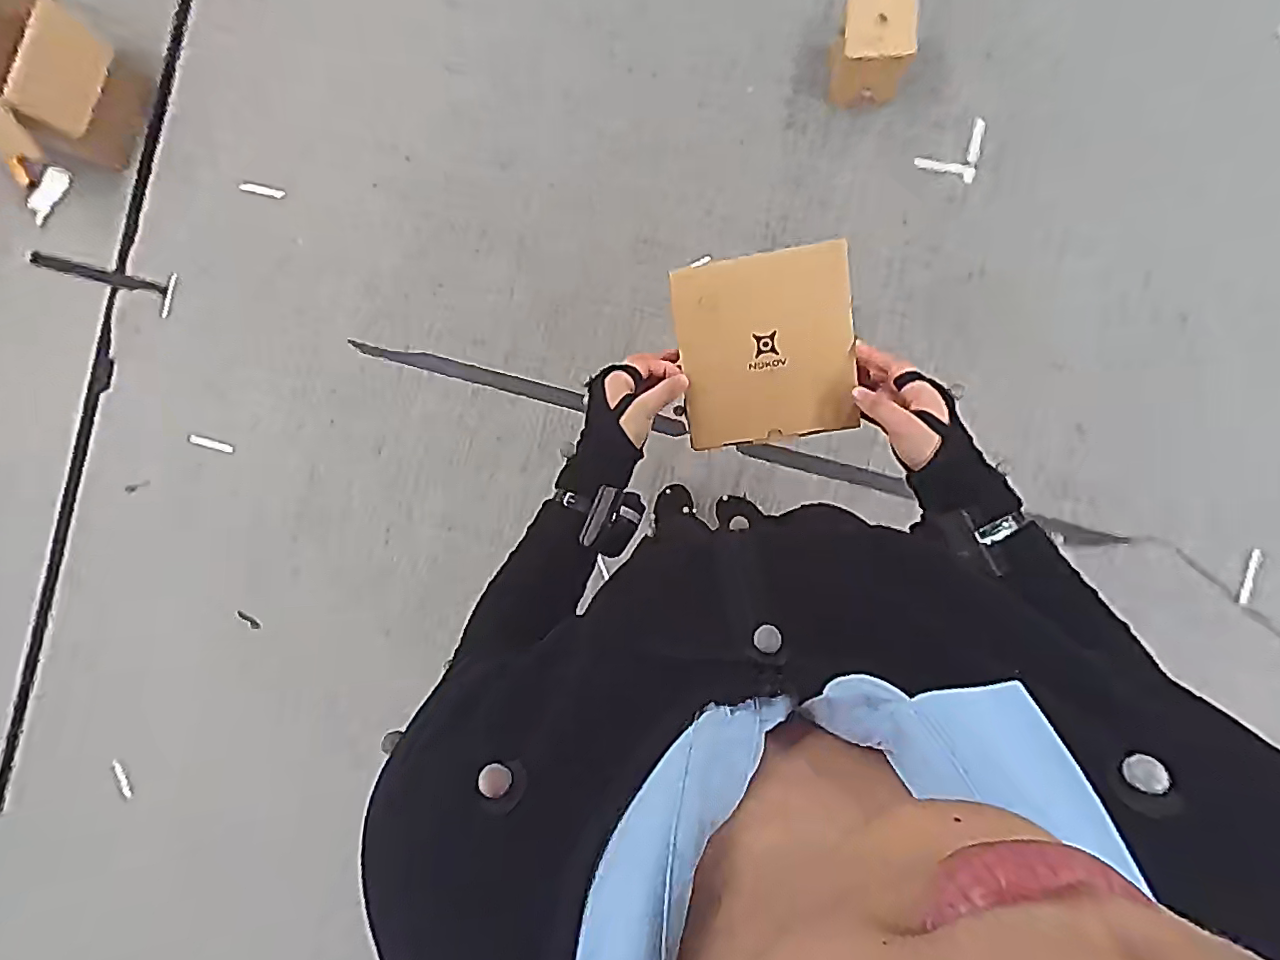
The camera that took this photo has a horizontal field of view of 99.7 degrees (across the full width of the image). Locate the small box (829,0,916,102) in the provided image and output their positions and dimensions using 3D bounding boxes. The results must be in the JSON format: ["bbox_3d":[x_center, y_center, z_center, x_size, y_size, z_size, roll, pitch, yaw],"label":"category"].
[{"bbox_3d":[0.591,-1.116,1.390,0.168,0.176,0.179,2,89,7],"label":"small box"}]
